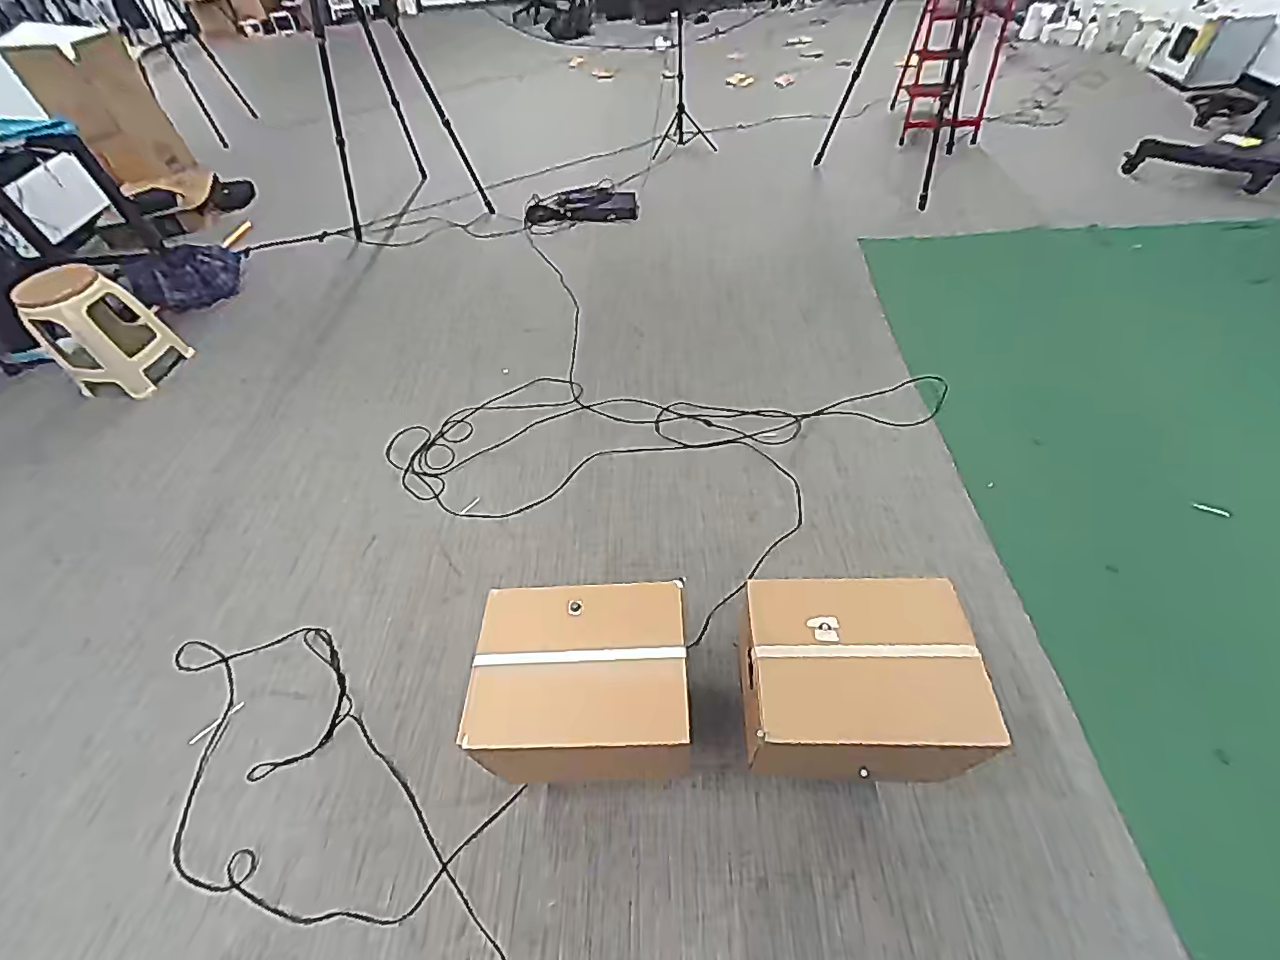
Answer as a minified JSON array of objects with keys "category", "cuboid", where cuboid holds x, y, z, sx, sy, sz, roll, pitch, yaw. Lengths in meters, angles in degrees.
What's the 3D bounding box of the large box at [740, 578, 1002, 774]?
[{"category":"large box","cuboid":[0.430,0.417,1.128,0.408,0.320,0.320,-2,51,5]}]
